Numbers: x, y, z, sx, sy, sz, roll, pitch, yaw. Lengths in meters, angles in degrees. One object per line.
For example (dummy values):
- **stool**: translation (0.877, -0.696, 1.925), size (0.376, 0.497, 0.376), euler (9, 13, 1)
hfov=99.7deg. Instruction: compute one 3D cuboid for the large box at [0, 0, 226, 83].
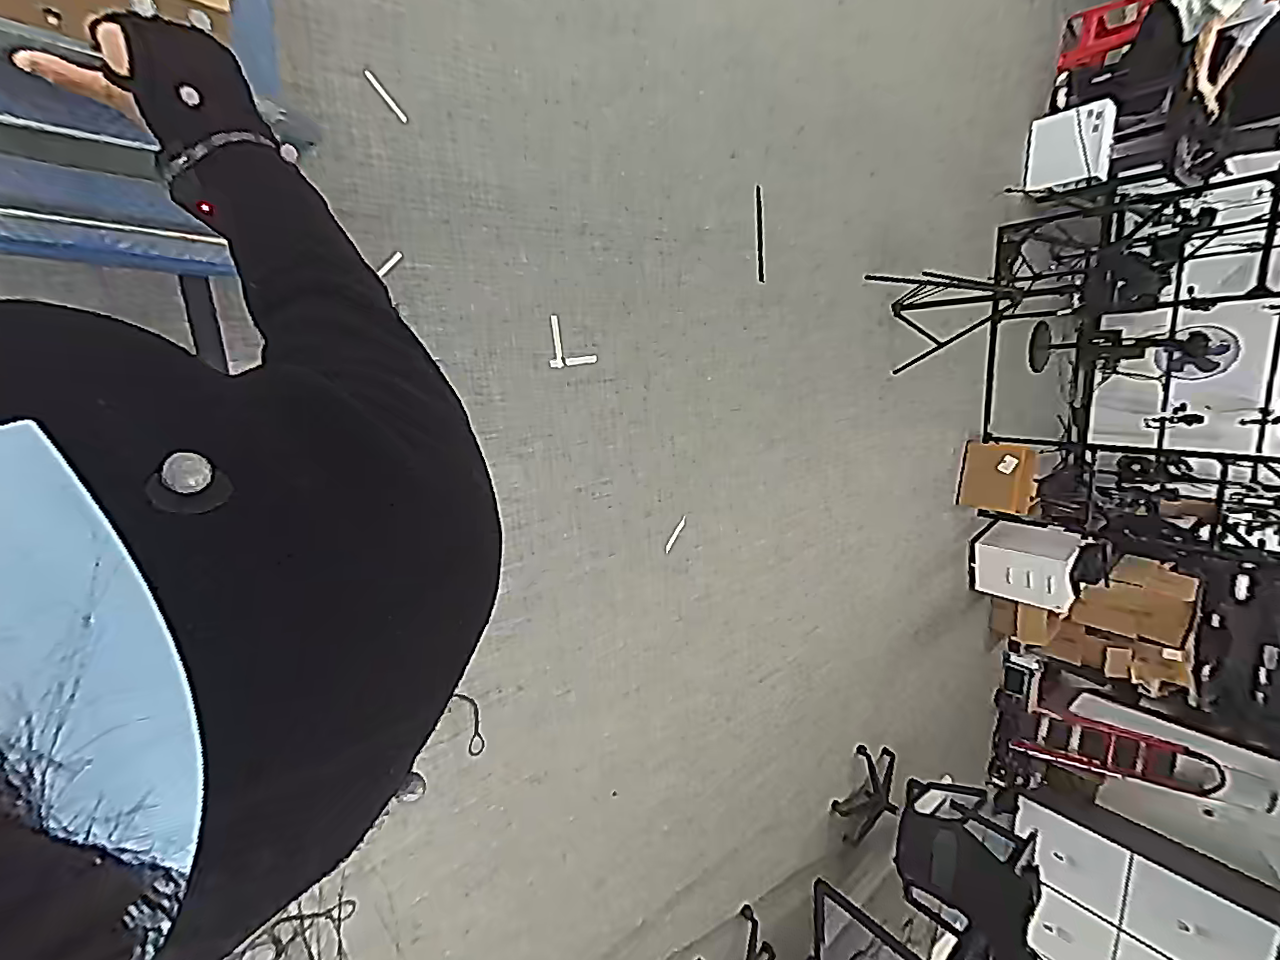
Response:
- **large box**: translation (-0.833, -0.830, 0.735), size (0.408, 0.320, 0.320), euler (-6, 101, -37)
